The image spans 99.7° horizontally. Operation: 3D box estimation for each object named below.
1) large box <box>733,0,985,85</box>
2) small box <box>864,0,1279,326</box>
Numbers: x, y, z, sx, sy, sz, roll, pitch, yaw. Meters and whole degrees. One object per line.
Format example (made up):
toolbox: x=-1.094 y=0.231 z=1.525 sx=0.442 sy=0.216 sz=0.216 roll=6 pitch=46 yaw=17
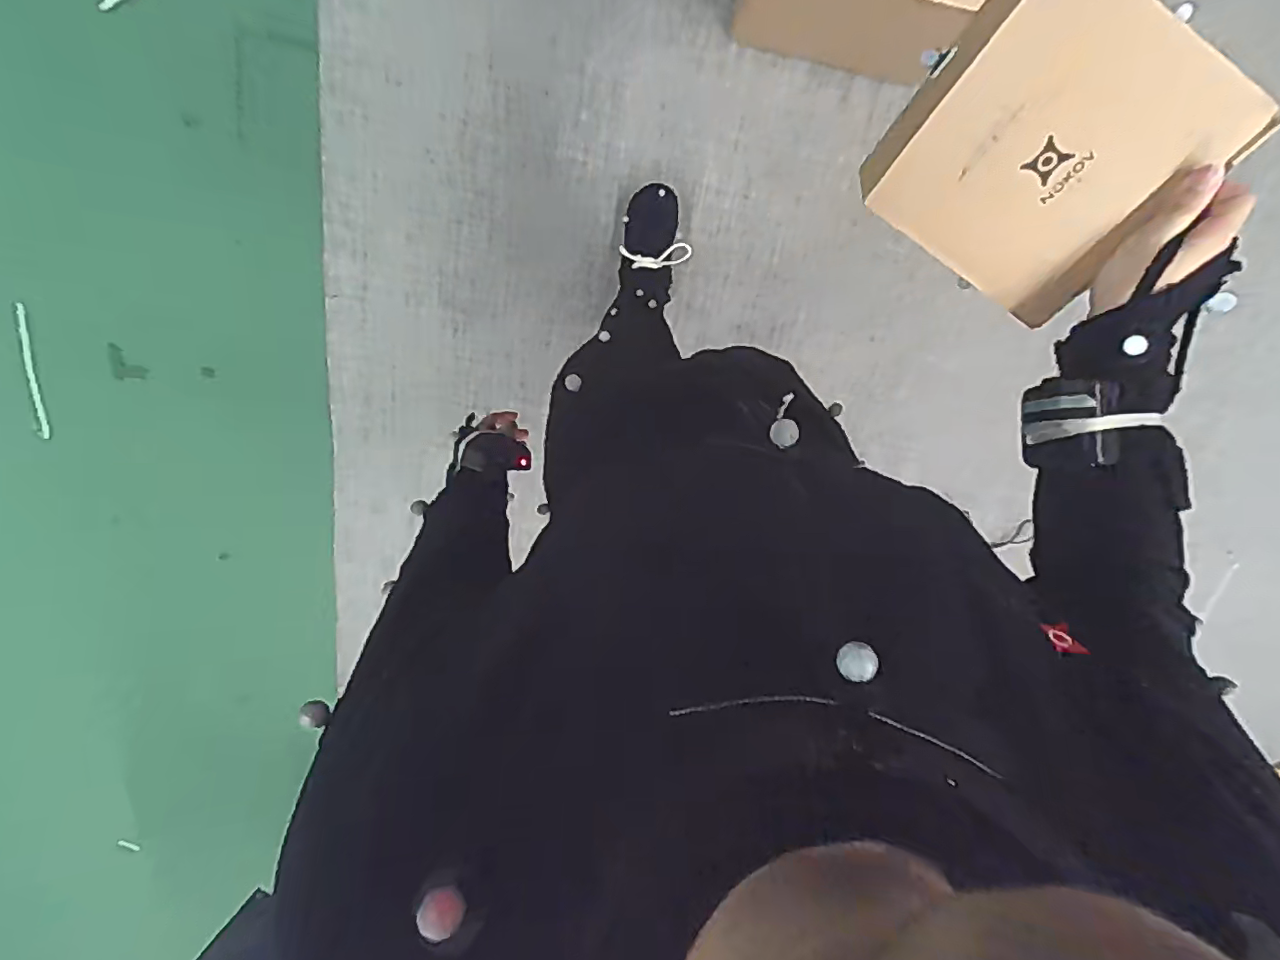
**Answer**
large box: x=0.402 y=-0.907 z=0.885 sx=0.408 sy=0.320 sz=0.320 roll=8 pitch=112 yaw=-7
small box: x=0.302 y=-0.260 z=0.423 sx=0.179 sy=0.176 sz=0.168 roll=33 pitch=130 yaw=-5
